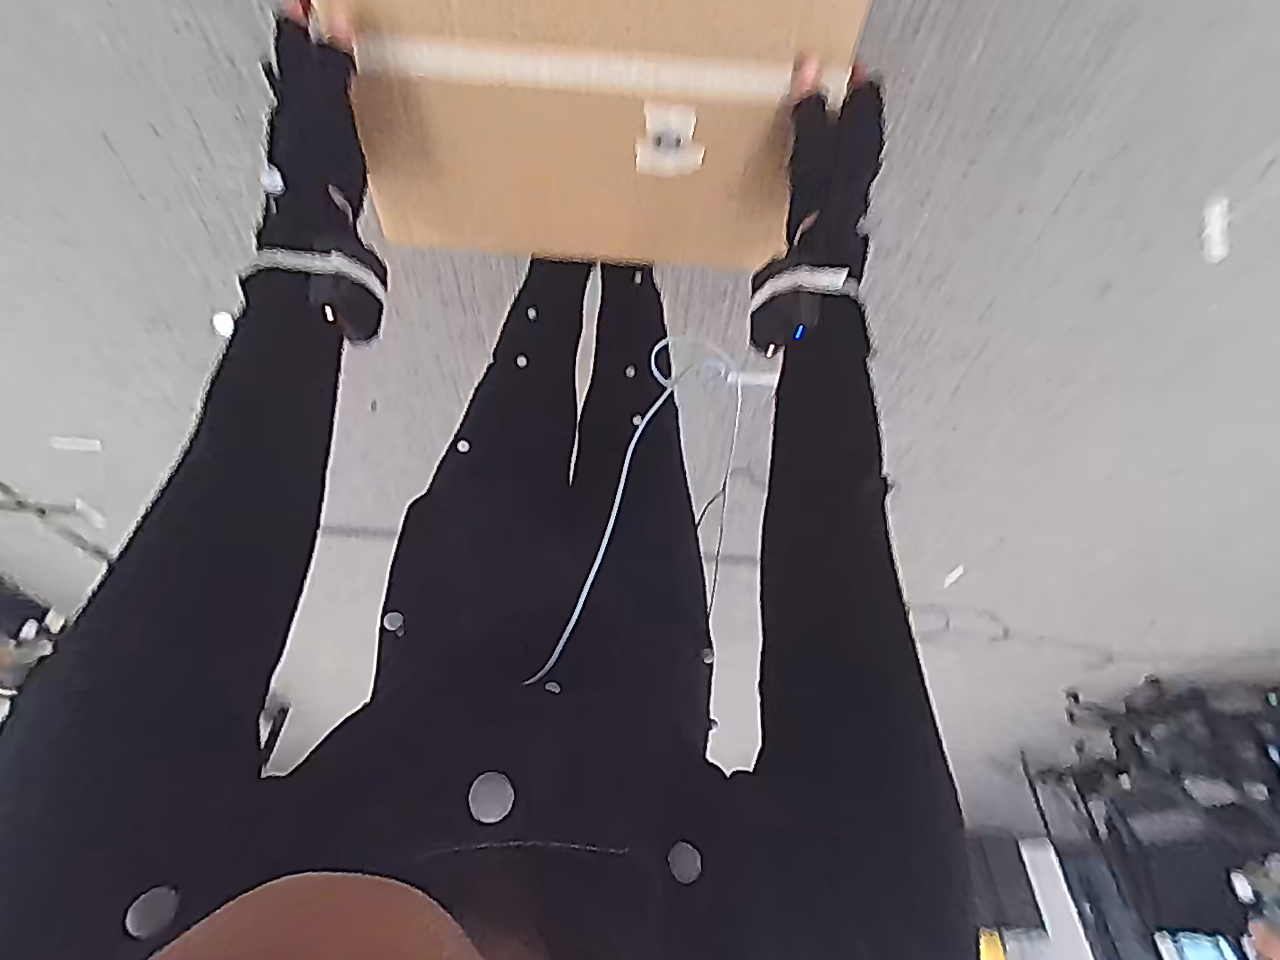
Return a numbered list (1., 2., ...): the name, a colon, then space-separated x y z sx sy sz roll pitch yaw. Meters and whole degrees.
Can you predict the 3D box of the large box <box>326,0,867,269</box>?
1. large box: -0.036 -0.433 0.528 0.408 0.320 0.320 3 140 -2
